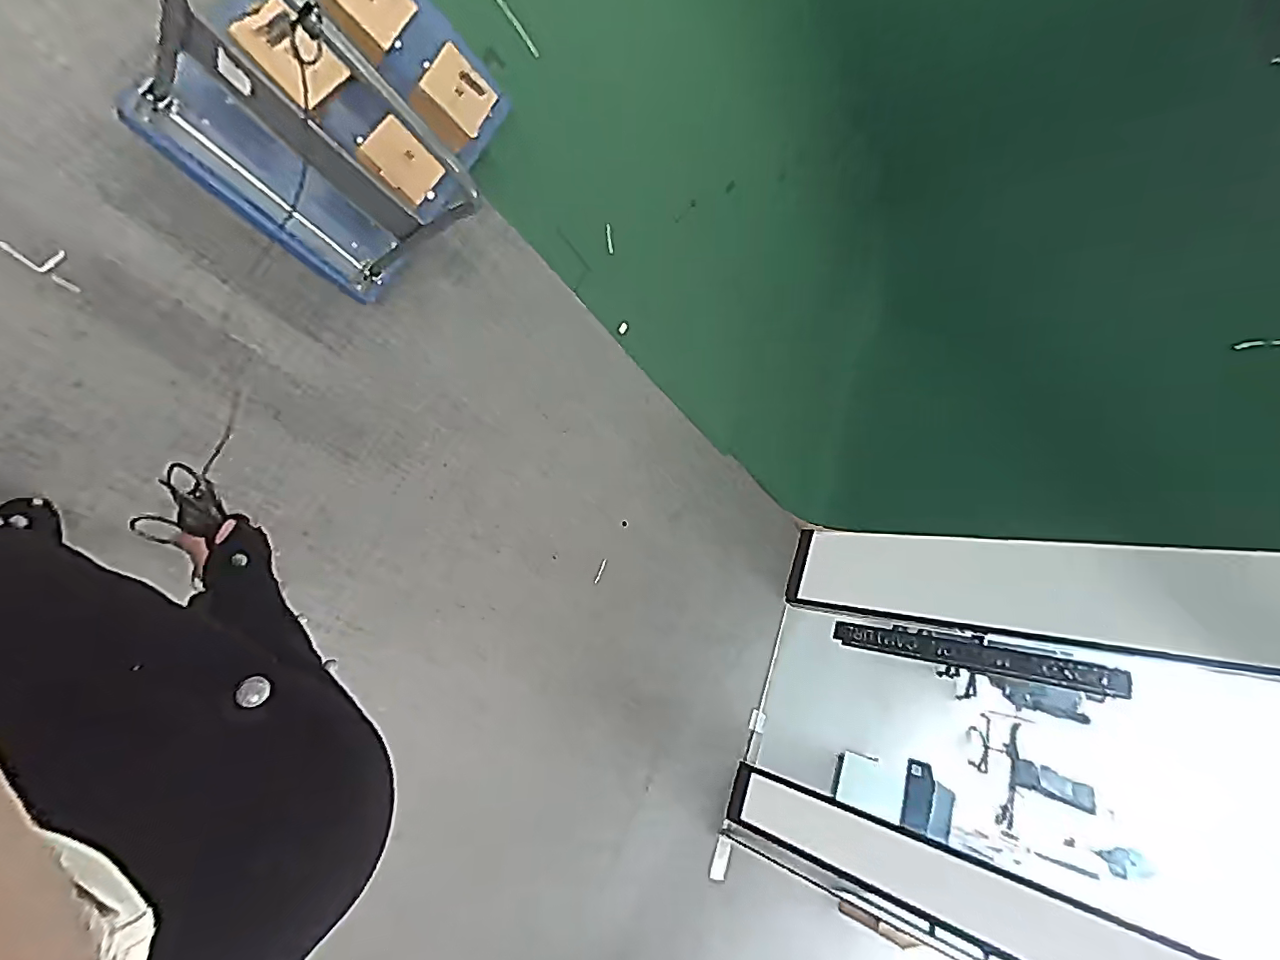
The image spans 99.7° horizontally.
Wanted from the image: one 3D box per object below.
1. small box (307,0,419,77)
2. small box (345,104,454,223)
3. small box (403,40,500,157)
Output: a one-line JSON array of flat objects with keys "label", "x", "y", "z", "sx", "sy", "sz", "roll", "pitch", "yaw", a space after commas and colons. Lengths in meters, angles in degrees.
[{"label": "small box", "x": -0.684, "y": -1.148, "z": 1.326, "sx": 0.168, "sy": 0.176, "sz": 0.179, "roll": 36, "pitch": 65, "yaw": -39}, {"label": "small box", "x": -0.621, "y": -0.804, "z": 1.387, "sx": 0.168, "sy": 0.176, "sz": 0.179, "roll": 41, "pitch": 63, "yaw": -37}, {"label": "small box", "x": -0.523, "y": -1.036, "z": 1.484, "sx": 0.168, "sy": 0.176, "sz": 0.179, "roll": 35, "pitch": 67, "yaw": -38}]
